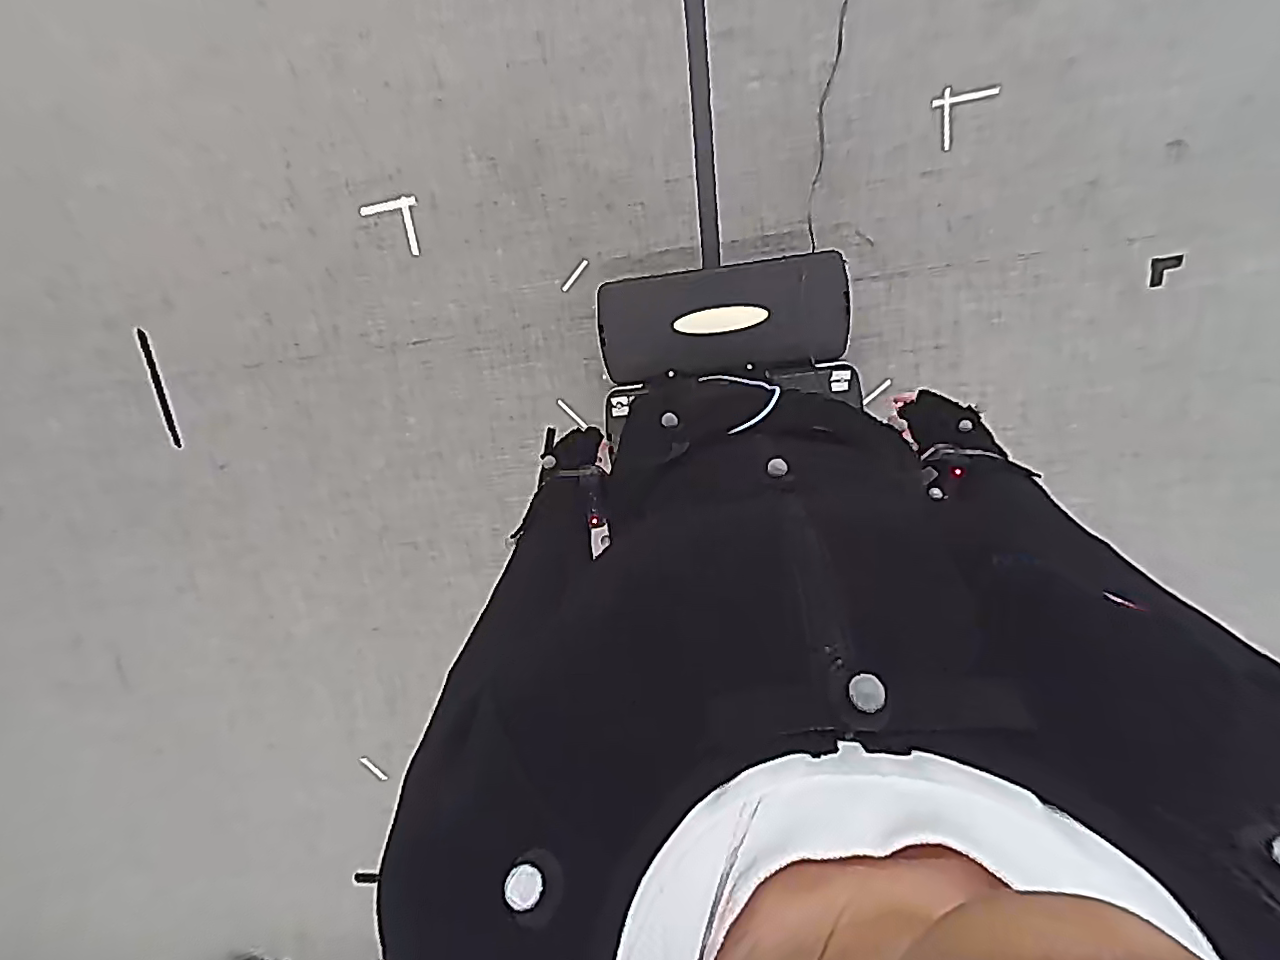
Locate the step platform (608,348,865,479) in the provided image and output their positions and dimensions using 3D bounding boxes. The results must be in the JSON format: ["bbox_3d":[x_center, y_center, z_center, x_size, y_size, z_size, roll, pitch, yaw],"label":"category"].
[{"bbox_3d":[0.253,-0.179,1.494,0.684,0.204,0.286,-6,102,10],"label":"step platform"}]
